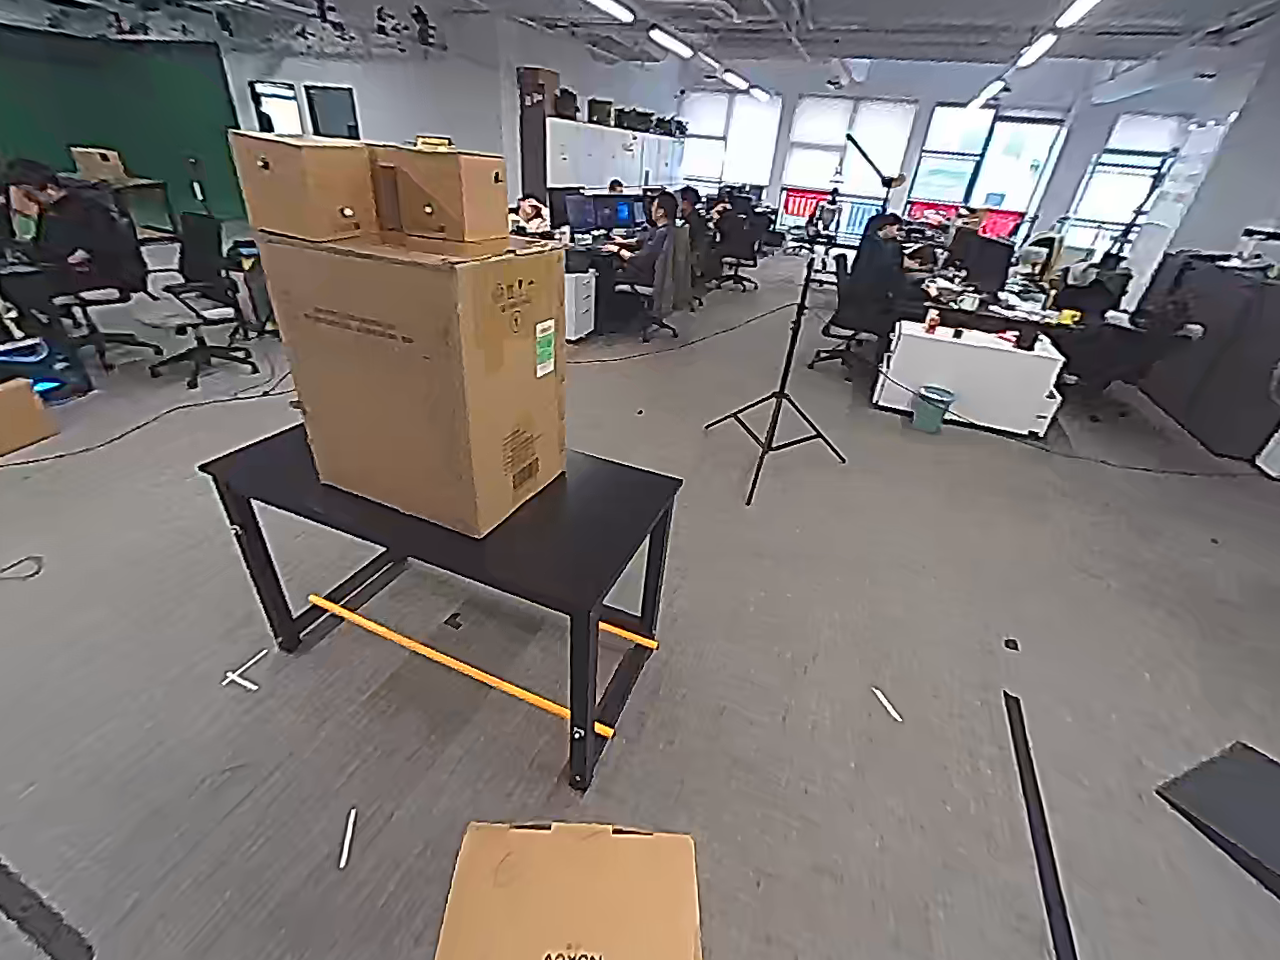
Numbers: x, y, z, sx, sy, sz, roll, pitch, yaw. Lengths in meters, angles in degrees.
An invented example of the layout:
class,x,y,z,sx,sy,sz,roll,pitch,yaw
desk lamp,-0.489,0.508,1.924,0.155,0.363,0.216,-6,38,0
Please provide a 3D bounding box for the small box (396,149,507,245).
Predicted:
class,x,y,z,sx,sy,sz,roll,pitch,yaw
small box,-0.412,-0.629,1.207,0.168,0.176,0.179,13,30,16

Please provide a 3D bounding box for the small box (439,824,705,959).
class,x,y,z,sx,sy,sz,roll,pitch,yaw
small box,-0.050,0.364,0.366,0.168,0.176,0.179,5,39,-5

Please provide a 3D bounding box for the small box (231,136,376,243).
class,x,y,z,sx,sy,sz,roll,pitch,yaw
small box,-0.674,-0.590,1.103,0.179,0.176,0.168,17,34,13
